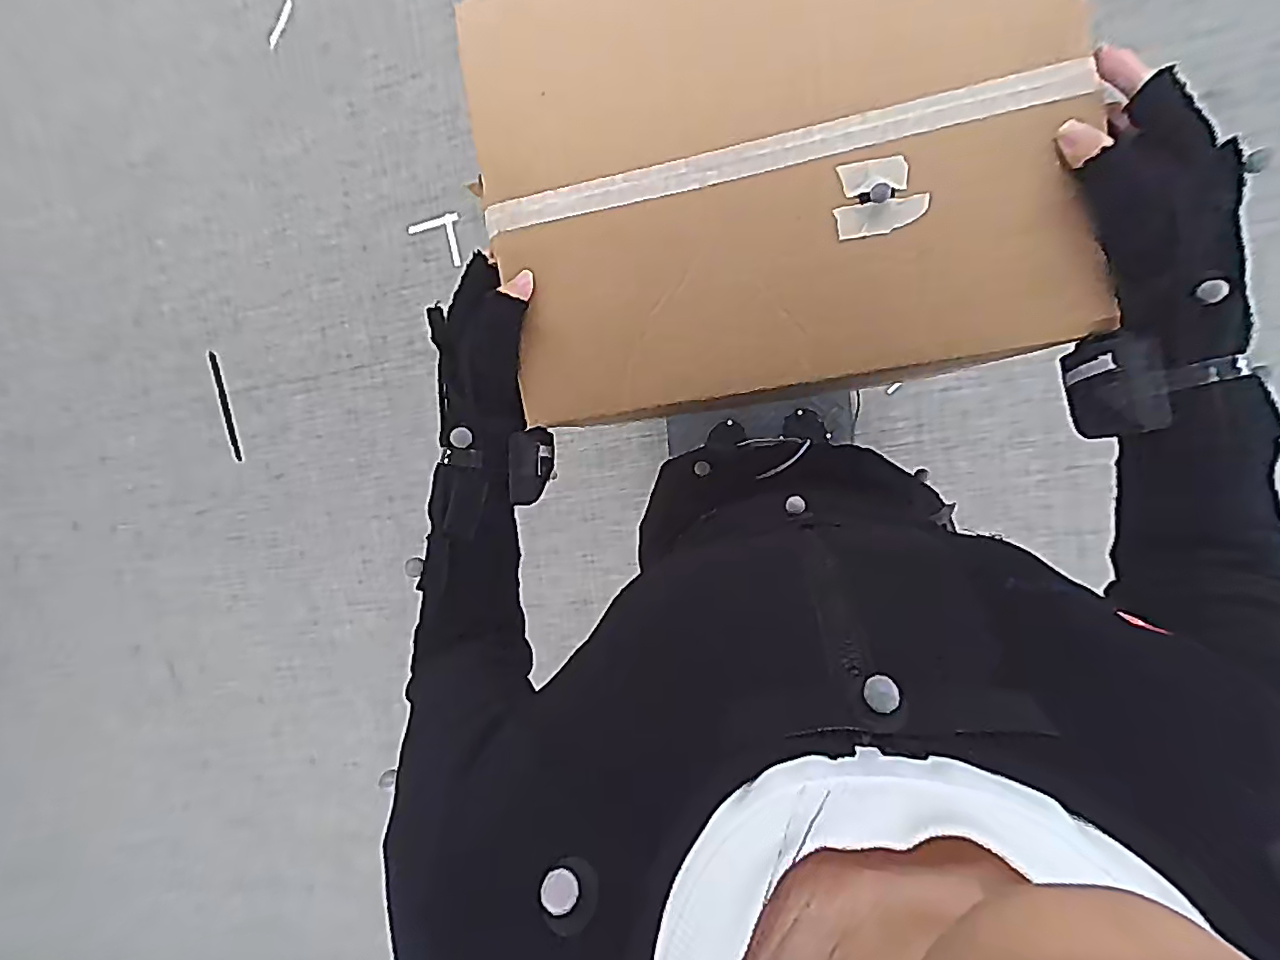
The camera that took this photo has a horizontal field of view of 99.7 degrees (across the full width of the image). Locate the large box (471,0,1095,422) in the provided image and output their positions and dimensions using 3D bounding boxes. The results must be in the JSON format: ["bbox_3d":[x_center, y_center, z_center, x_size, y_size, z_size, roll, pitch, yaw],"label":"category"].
[{"bbox_3d":[0.109,-0.243,0.530,0.408,0.320,0.320,-8,95,9],"label":"large box"}]
